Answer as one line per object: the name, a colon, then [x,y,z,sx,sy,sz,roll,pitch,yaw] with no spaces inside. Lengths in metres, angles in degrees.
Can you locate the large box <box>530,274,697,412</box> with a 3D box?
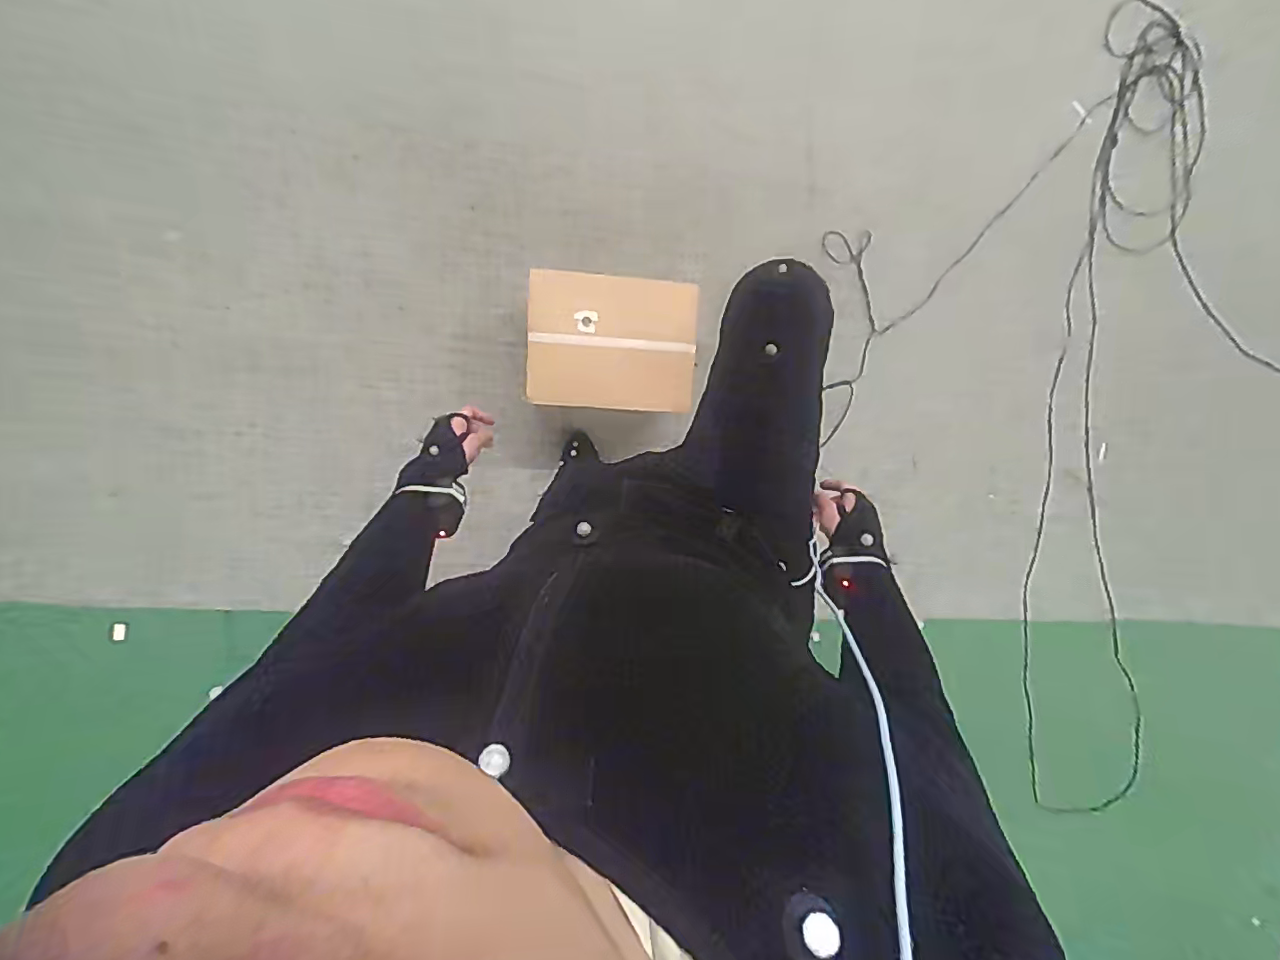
large box: [-0.078,-0.346,1.447,0.408,0.320,0.320,2,96,-8]
